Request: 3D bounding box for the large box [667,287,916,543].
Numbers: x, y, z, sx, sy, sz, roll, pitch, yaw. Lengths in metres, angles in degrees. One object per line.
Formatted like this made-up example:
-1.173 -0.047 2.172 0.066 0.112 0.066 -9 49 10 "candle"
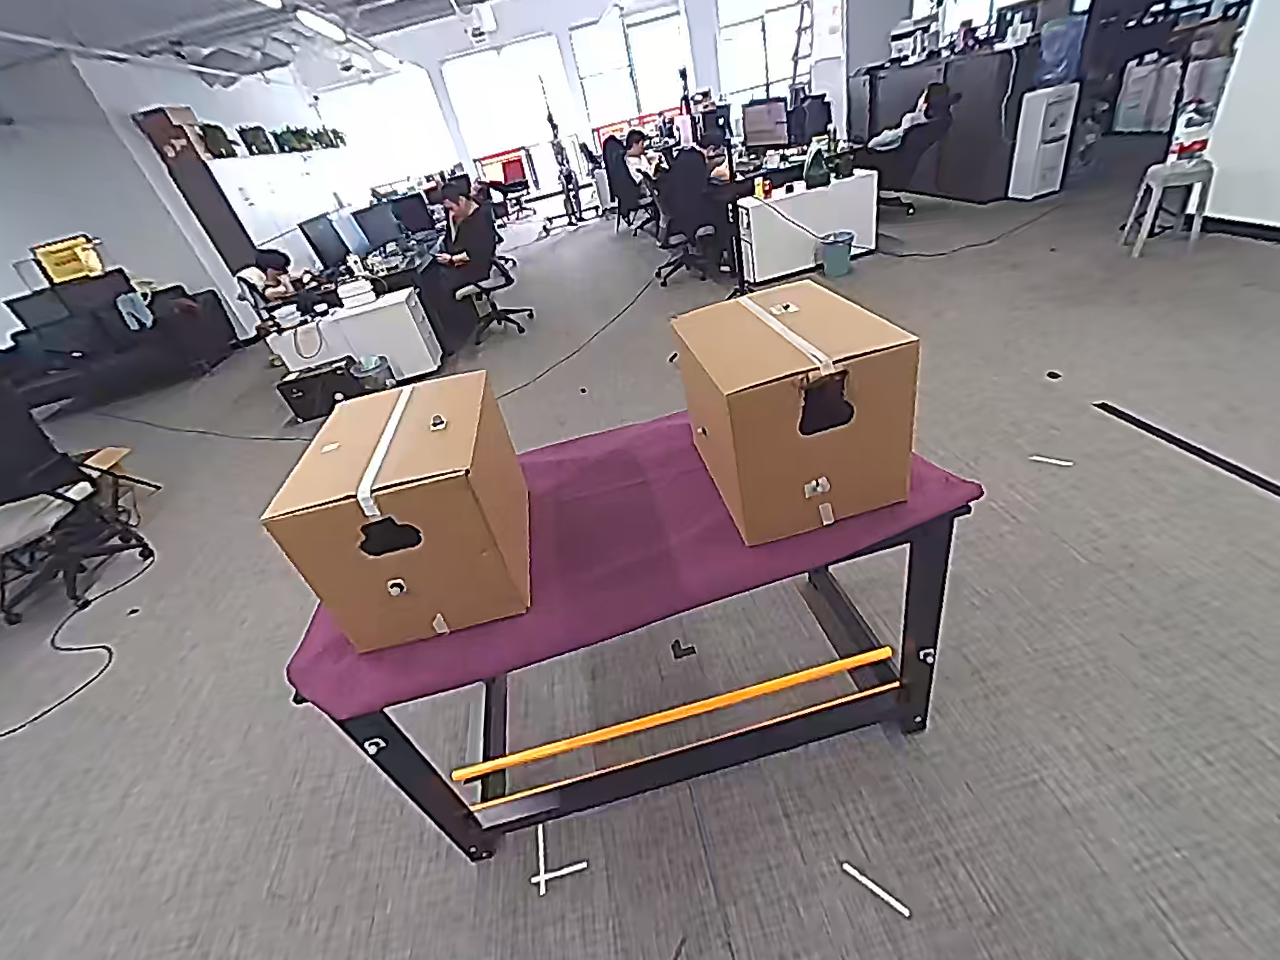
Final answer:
0.271 -0.144 1.052 0.320 0.320 0.408 -15 33 -2 "large box"
